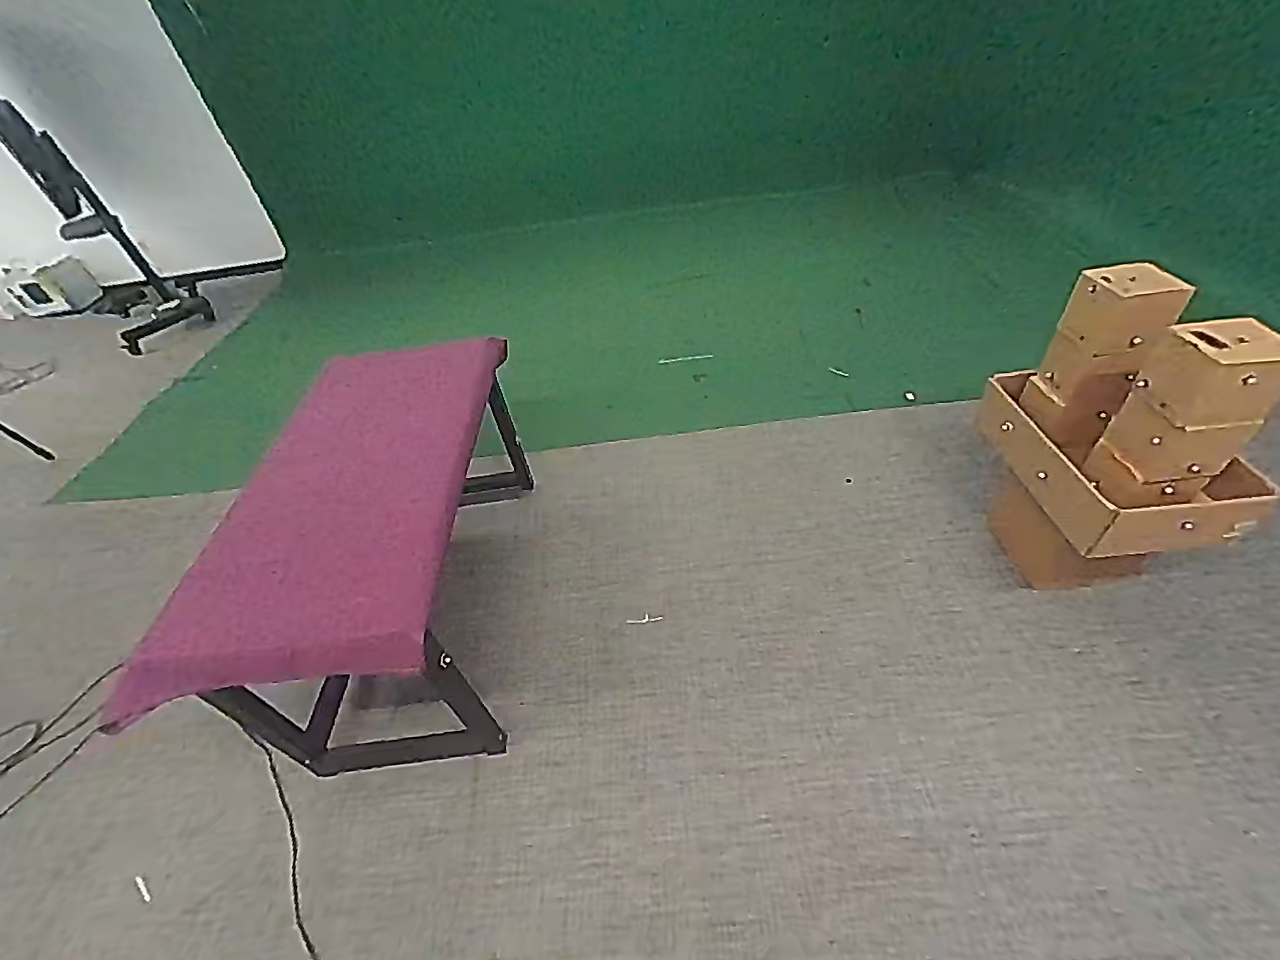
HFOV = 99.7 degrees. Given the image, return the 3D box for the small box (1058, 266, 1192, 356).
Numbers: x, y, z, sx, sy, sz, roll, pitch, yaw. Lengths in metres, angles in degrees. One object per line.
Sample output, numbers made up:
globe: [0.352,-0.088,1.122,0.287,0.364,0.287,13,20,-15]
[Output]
small box: [1.277,-0.450,1.442,0.179,0.176,0.168,-6,42,2]

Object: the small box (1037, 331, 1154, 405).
small box: [1.298,-0.331,1.553,0.179,0.176,0.168,-4,43,6]

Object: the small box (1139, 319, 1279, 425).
small box: [1.285,-0.239,1.215,0.179,0.176,0.168,-4,45,5]
